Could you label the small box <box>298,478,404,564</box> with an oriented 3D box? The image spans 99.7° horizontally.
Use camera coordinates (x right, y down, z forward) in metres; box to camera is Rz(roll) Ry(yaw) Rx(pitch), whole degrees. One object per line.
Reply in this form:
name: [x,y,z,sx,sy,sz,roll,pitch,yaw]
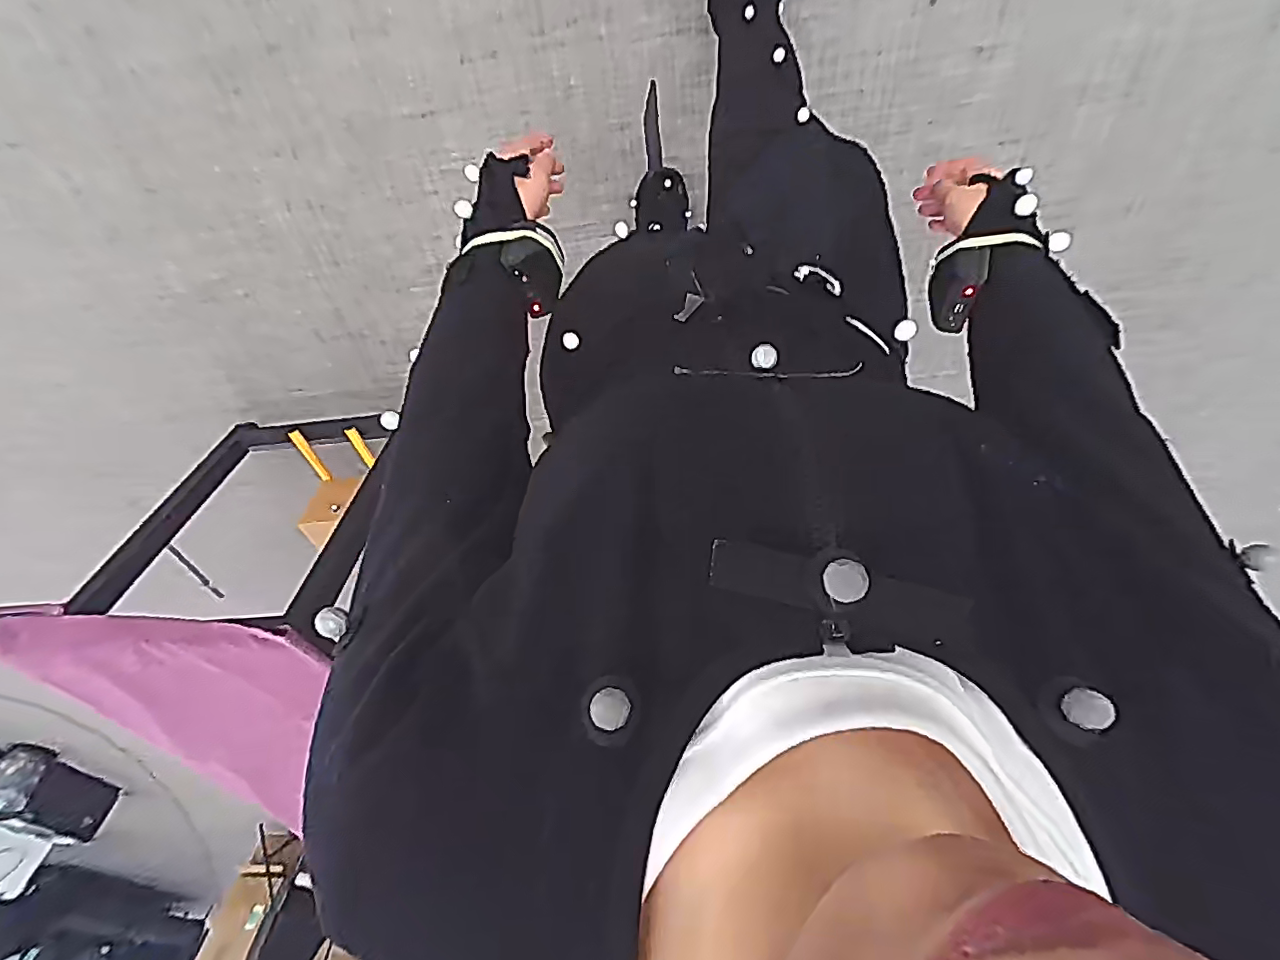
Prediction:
small box: [-0.792,0.113,1.504,0.179,0.176,0.168,-6,133,5]
